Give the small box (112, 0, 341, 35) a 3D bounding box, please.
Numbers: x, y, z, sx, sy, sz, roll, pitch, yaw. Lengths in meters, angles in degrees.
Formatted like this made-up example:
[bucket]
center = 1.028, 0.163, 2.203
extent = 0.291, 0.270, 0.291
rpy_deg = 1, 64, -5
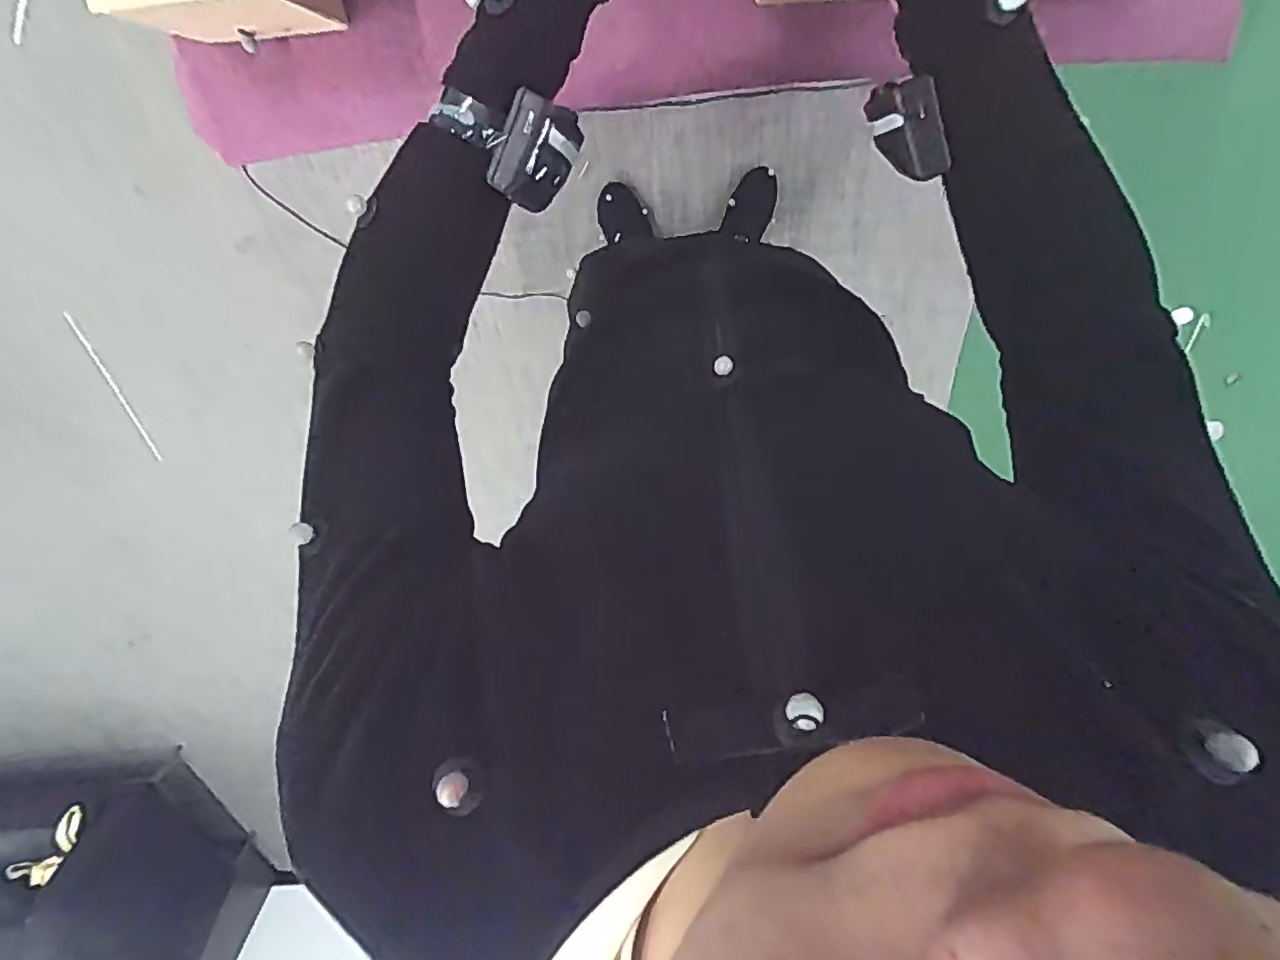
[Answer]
[small box]
center = -0.421, -0.548, 0.504
extent = 0.168, 0.176, 0.179
rpy_deg = -4, 121, 3
